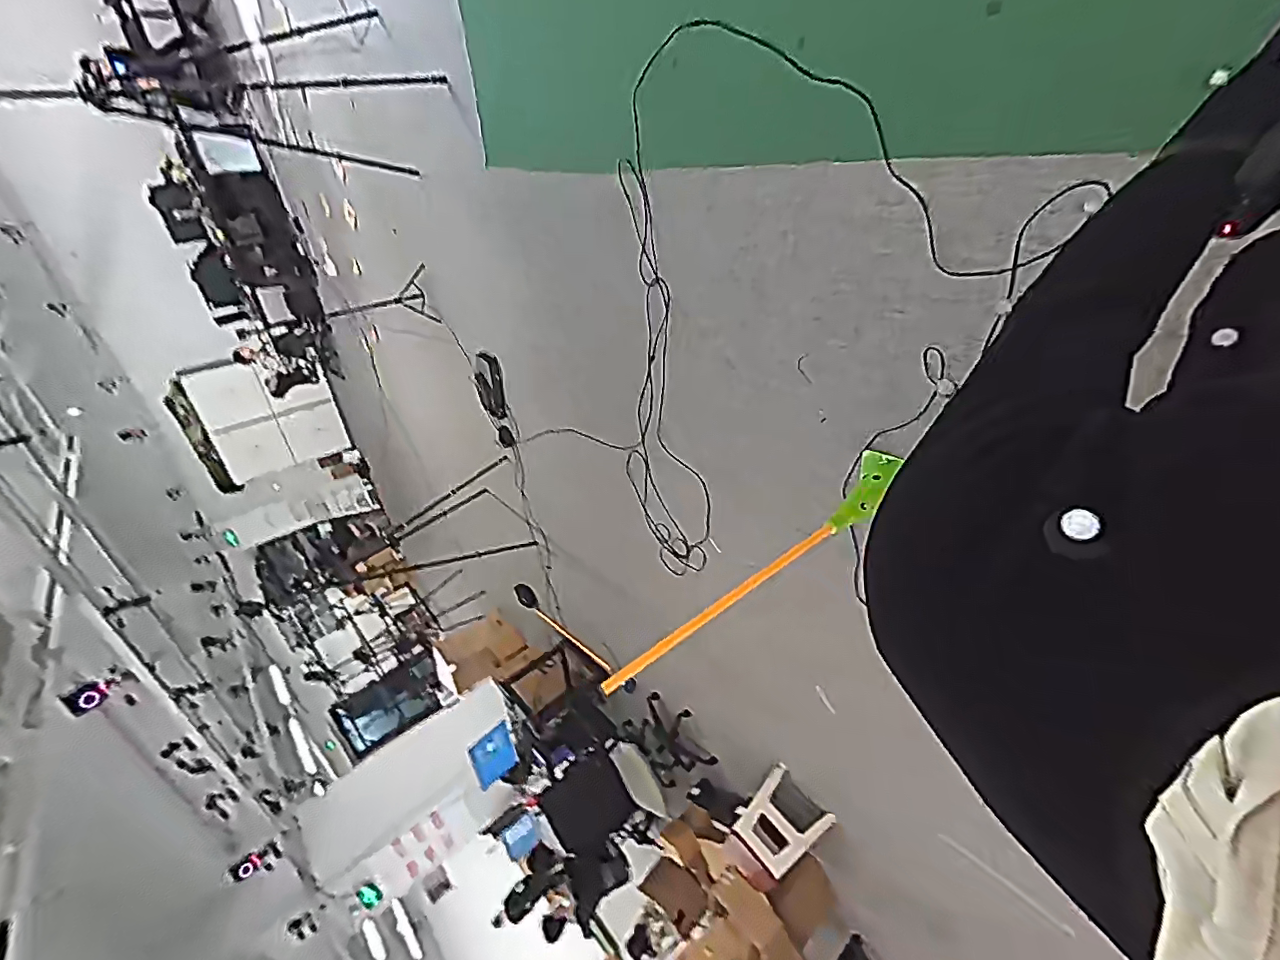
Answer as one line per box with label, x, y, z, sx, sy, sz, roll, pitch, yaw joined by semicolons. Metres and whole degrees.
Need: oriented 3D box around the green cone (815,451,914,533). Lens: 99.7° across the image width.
green cone;0.695;0.077;1.750;0.202;0.368;0.200;26;133;45
